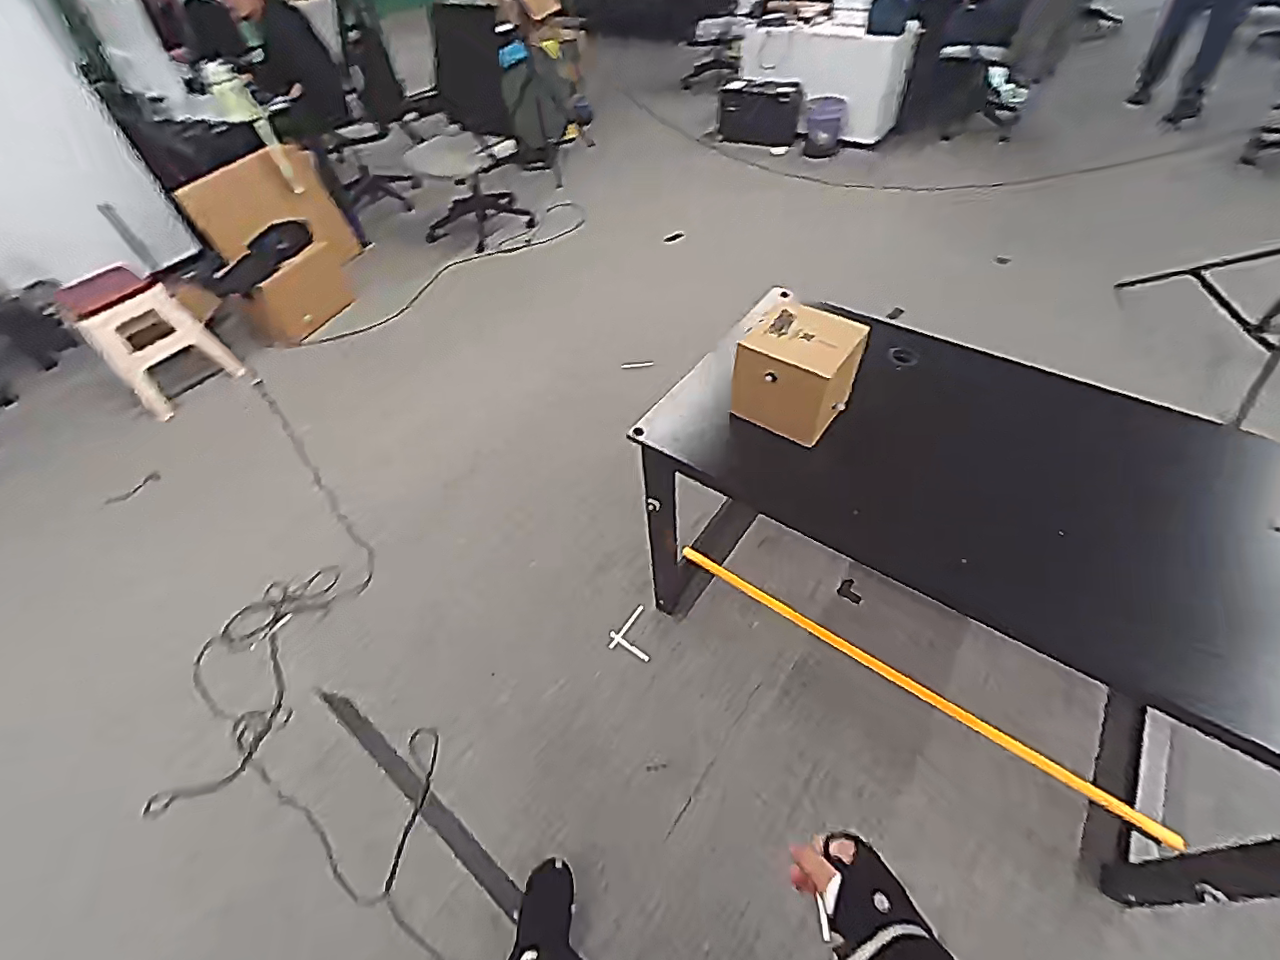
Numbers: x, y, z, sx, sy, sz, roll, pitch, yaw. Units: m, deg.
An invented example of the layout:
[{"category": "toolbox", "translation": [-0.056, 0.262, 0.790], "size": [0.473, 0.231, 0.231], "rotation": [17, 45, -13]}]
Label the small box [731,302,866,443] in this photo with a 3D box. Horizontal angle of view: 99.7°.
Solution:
[{"category": "small box", "translation": [0.285, -0.196, 1.006], "size": [0.179, 0.176, 0.168], "rotation": [29, 58, 24]}]
